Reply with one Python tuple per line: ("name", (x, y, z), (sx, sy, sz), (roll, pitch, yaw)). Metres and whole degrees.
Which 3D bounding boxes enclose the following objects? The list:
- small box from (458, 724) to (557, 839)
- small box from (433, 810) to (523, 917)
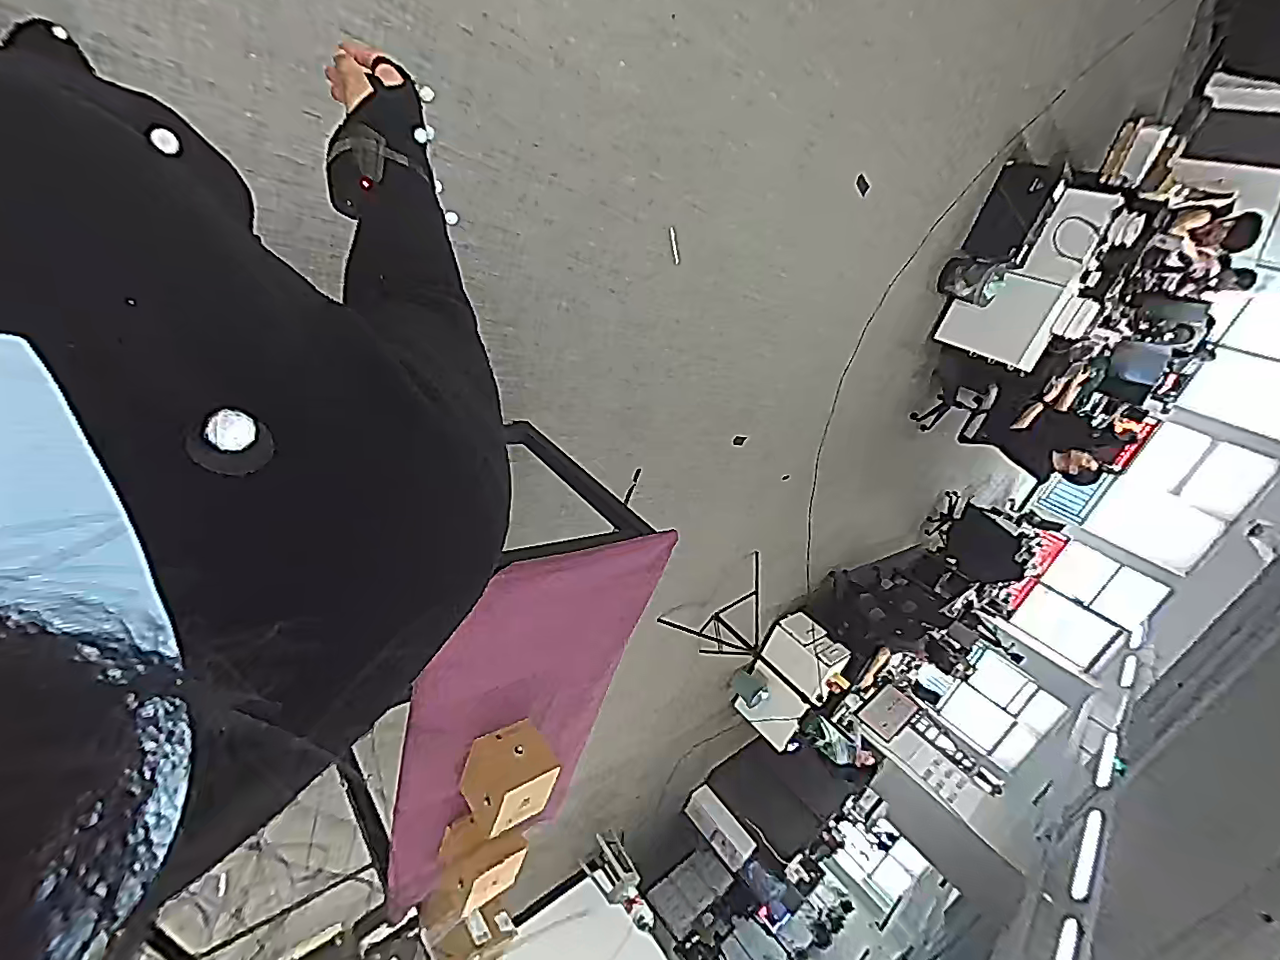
("small box", (-0.347, 0.760, 1.391), (0.168, 0.176, 0.179), (-1, 121, -46))
("small box", (-0.459, 1.051, 1.515), (0.168, 0.176, 0.179), (-2, 120, -48))
